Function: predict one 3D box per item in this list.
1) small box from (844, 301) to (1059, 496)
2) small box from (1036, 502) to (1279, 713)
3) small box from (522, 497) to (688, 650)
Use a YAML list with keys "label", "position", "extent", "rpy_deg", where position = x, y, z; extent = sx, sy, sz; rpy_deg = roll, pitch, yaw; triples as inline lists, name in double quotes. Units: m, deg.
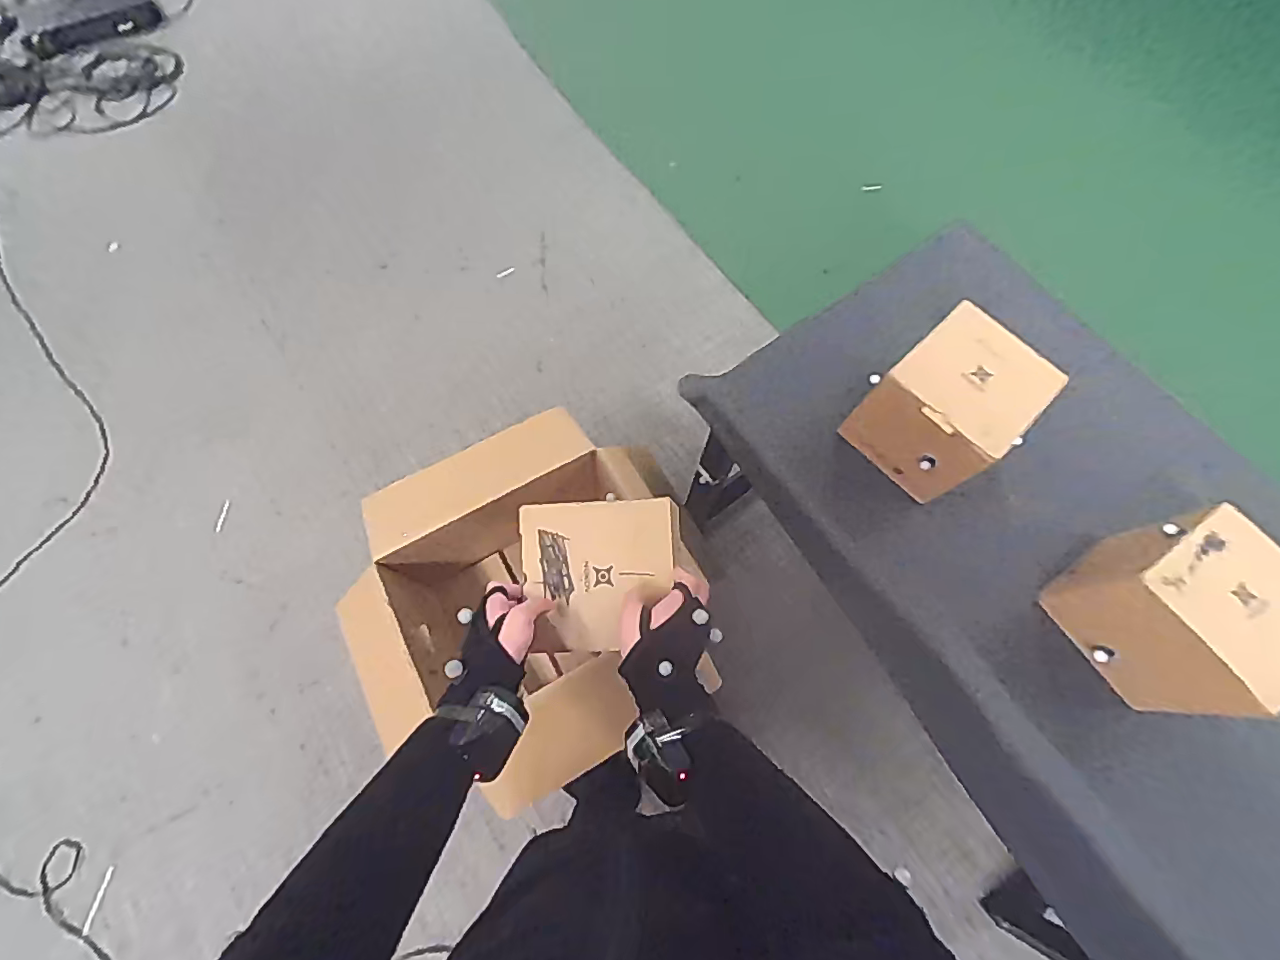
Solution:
- label: "small box"
  position: [0.417, -0.104, 0.761]
  extent: [0.179, 0.176, 0.168]
  rpy_deg: [-42, 78, -17]
- label: "small box"
  position: [0.661, 0.158, 0.671]
  extent: [0.168, 0.176, 0.179]
  rpy_deg: [-32, 75, -13]
- label: "small box"
  position: [-0.035, 0.114, 0.677]
  extent: [0.179, 0.176, 0.168]
  rpy_deg: [-4, 83, 7]
